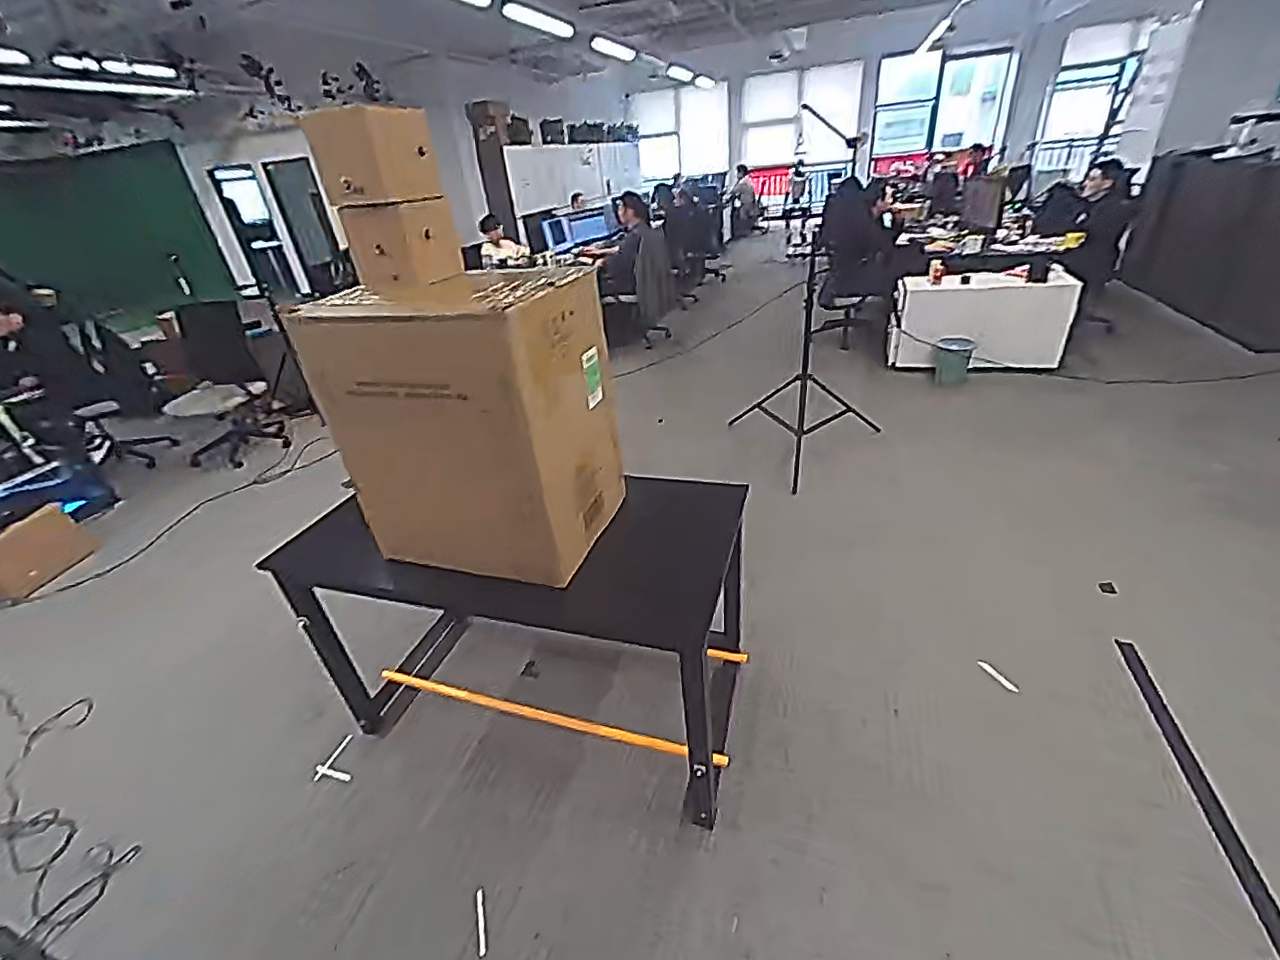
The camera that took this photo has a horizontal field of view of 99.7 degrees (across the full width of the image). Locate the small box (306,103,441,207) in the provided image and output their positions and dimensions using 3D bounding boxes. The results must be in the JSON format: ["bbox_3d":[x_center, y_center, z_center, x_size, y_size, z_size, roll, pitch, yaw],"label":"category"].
[{"bbox_3d":[-0.542,-0.673,1.131,0.168,0.176,0.179,6,32,20],"label":"small box"}]

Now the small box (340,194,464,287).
[{"bbox_3d":[-0.526,-0.540,1.226,0.168,0.176,0.179,6,32,18],"label":"small box"}]
